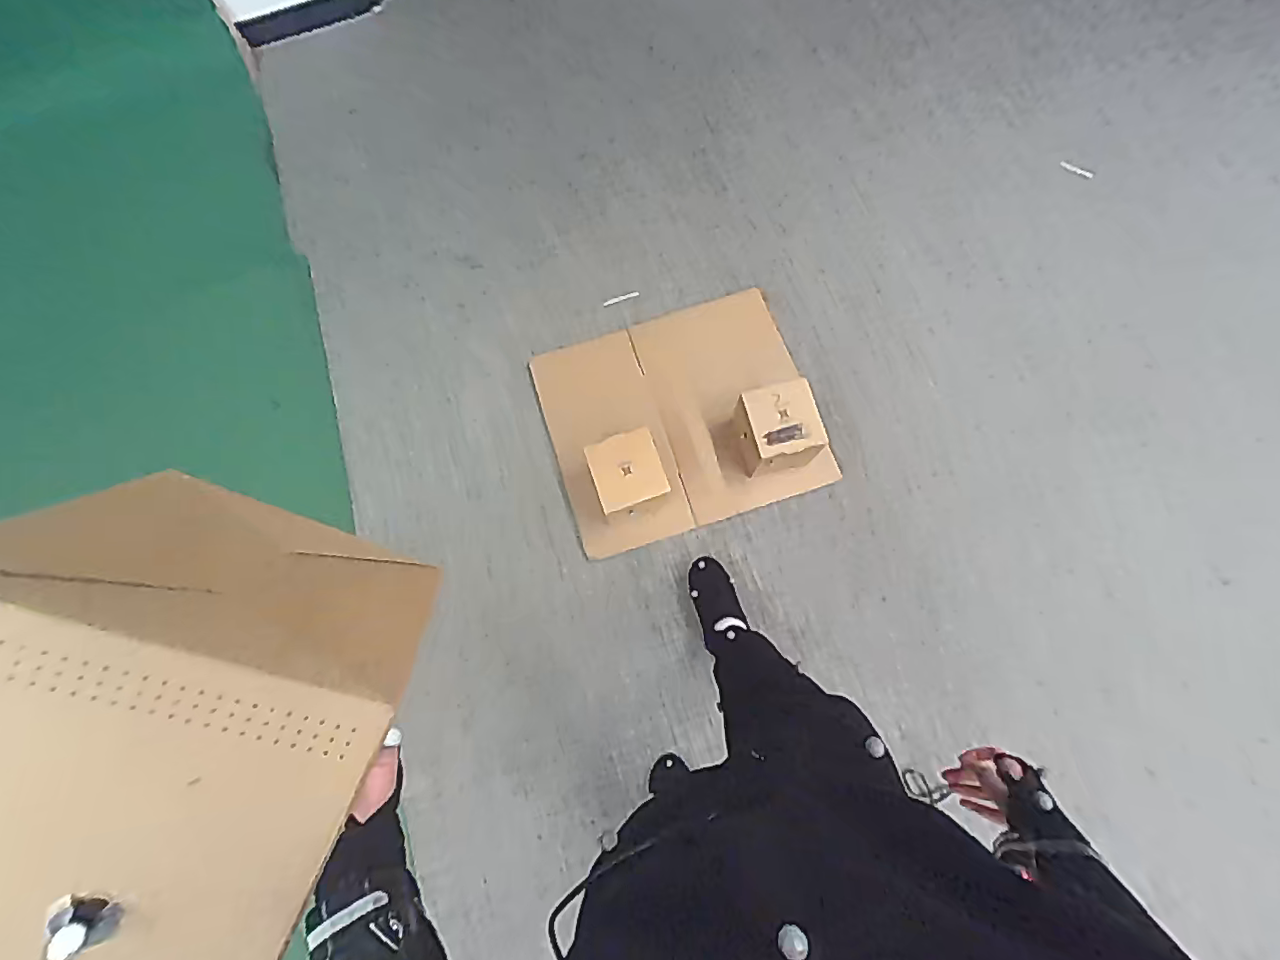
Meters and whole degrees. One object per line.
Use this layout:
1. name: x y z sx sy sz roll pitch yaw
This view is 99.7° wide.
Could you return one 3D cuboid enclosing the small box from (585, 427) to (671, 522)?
1. small box: -0.024 -0.003 1.342 0.168 0.176 0.179 -20 74 -2
